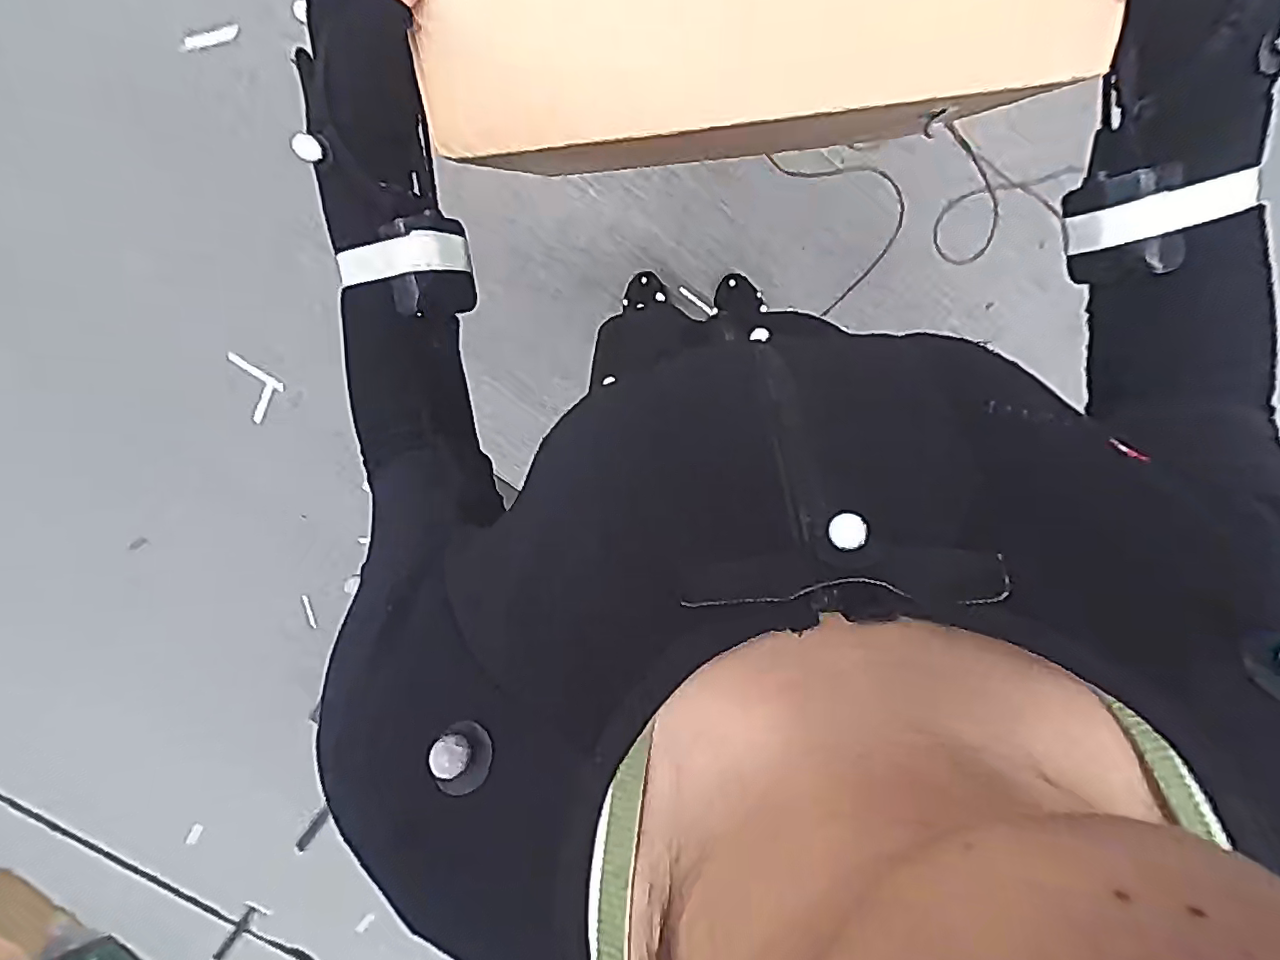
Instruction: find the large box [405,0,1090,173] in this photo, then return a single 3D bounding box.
[{"bbox_3d":[0.057,-0.432,0.404,0.408,0.320,0.320,-4,117,6],"label":"large box"}]
